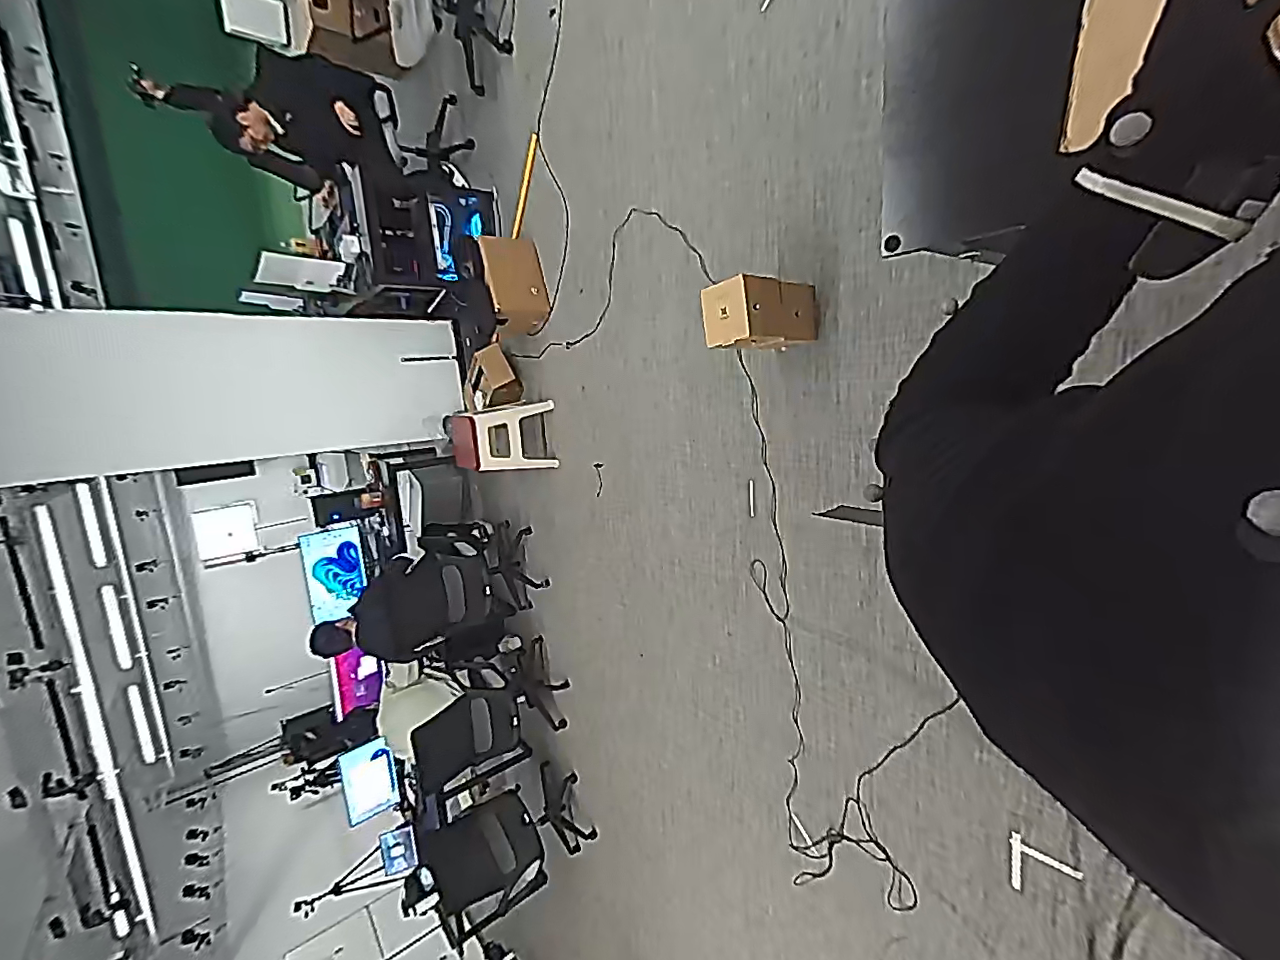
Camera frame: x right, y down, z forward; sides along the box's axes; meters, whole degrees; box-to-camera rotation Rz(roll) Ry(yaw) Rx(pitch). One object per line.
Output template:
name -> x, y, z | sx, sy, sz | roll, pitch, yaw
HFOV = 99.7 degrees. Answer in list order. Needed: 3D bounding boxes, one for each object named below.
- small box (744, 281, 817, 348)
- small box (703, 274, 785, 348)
small box -> 0.439, -0.514, 1.702 | 0.168, 0.176, 0.179 | 3, 102, 52
small box -> 0.311, -0.495, 1.602 | 0.168, 0.176, 0.179 | -1, 97, 51
